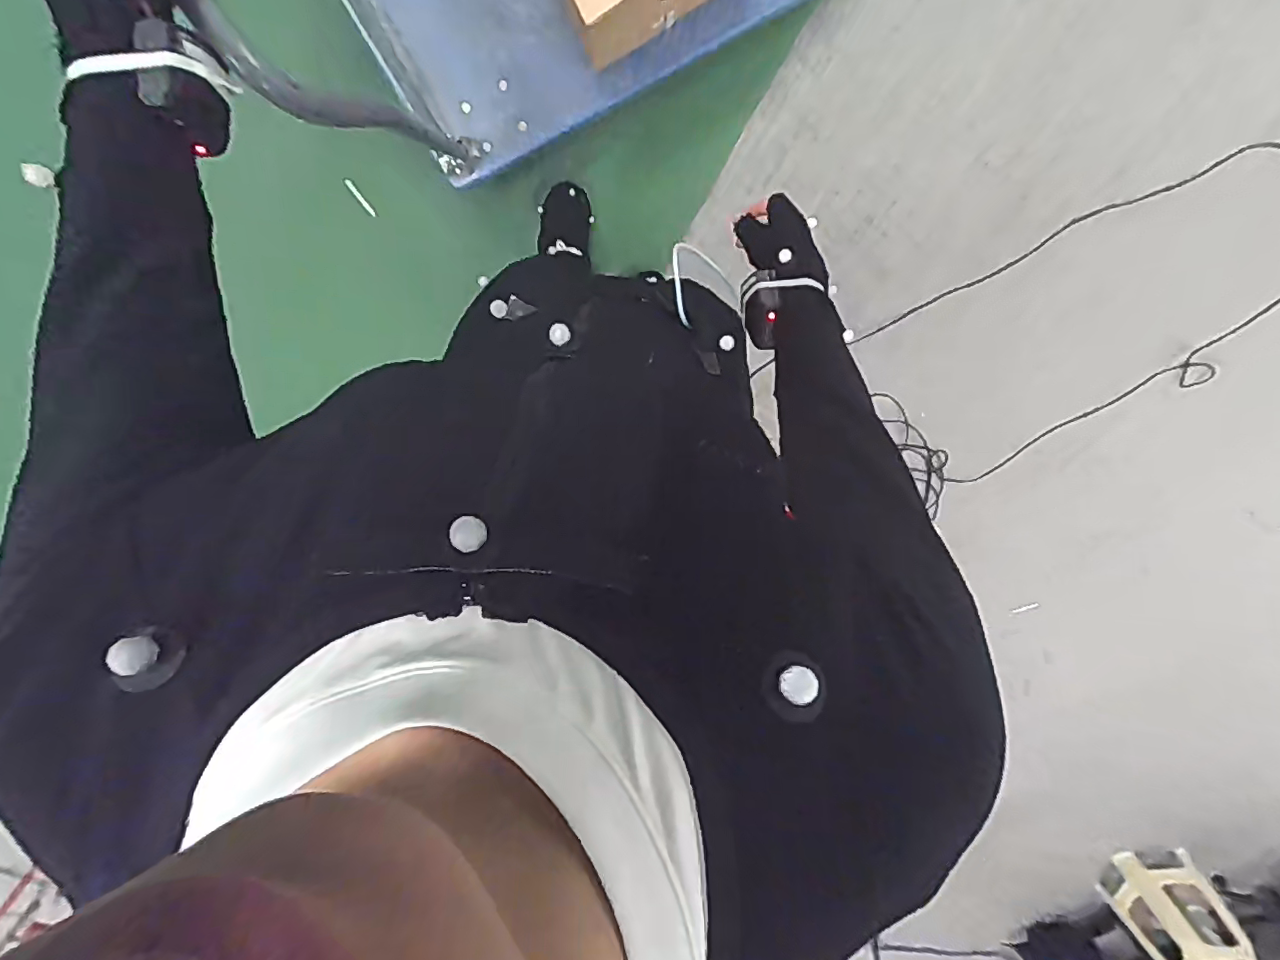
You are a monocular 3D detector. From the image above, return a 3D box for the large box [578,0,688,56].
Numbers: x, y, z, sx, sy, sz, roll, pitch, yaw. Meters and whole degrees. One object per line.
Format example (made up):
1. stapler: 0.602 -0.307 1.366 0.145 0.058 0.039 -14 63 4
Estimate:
1. large box: -0.022 -0.917 0.745 0.320 0.320 0.408 -26 116 11
